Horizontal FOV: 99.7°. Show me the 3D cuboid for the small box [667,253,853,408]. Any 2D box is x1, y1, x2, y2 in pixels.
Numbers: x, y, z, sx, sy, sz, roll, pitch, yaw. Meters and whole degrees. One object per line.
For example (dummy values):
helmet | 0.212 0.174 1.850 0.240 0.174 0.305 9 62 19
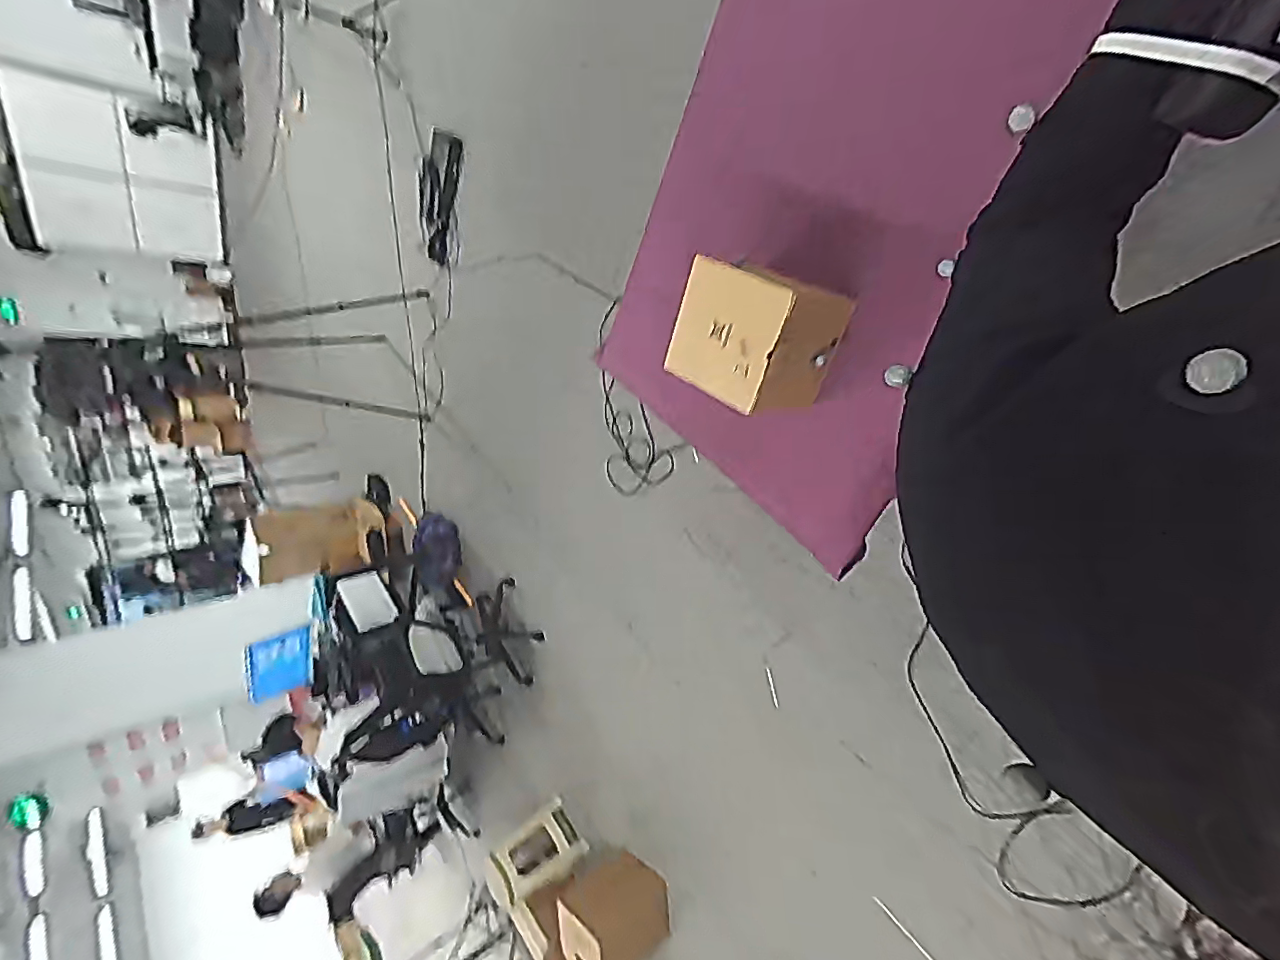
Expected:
small box | 0.174 -0.218 0.798 0.179 0.176 0.168 38 125 35
